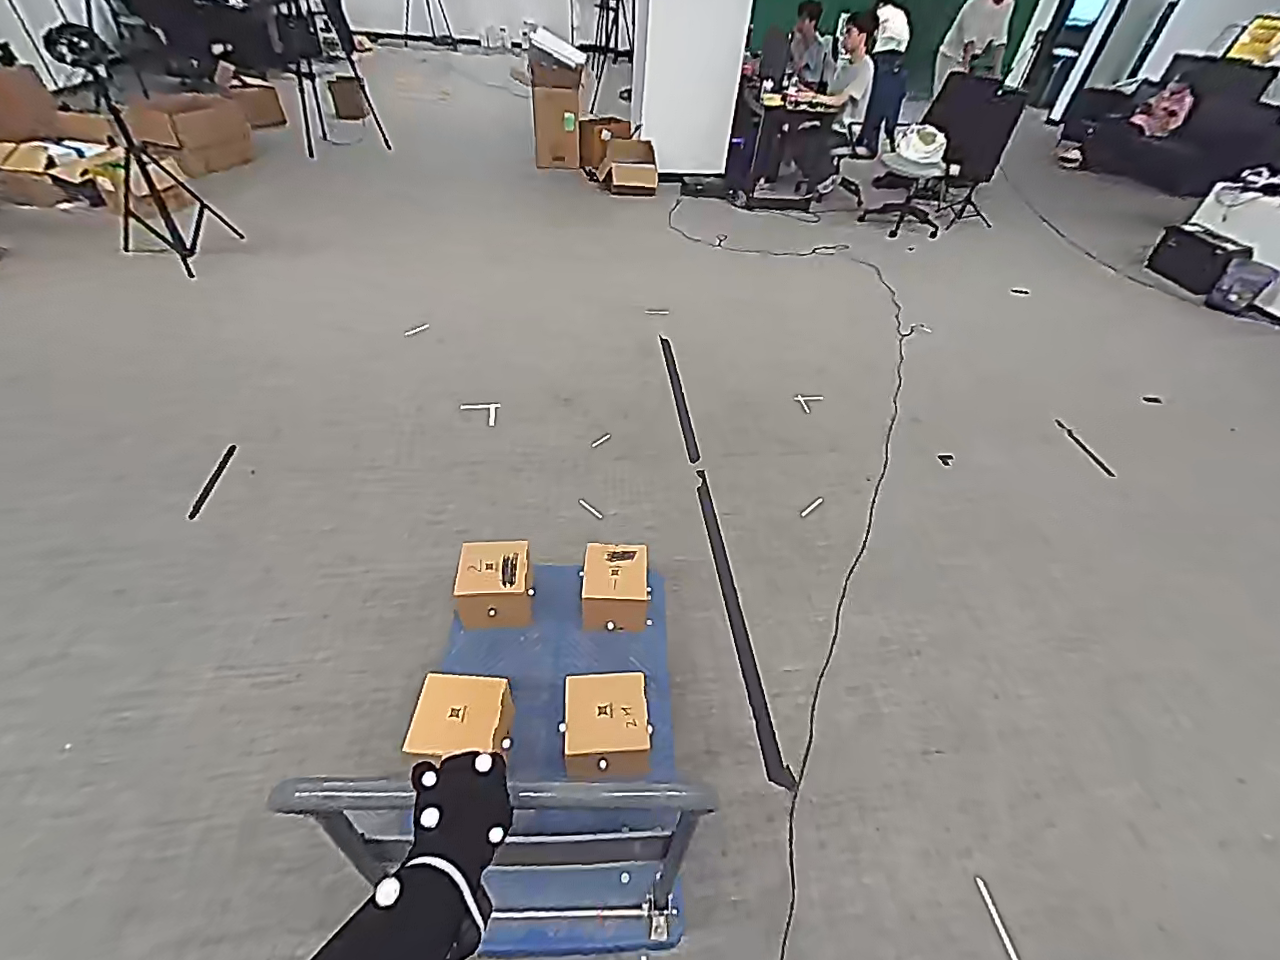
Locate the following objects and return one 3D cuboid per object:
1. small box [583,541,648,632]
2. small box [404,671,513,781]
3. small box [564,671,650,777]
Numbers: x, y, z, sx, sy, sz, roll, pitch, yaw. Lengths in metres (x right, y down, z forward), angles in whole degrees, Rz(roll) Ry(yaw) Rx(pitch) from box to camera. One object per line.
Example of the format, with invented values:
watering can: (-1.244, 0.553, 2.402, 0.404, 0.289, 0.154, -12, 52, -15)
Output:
small box: (-0.066, 0.289, 1.464, 0.168, 0.176, 0.179, 3, 45, -2)
small box: (-0.384, 0.538, 1.179, 0.179, 0.176, 0.168, 5, 43, -2)
small box: (-0.075, 0.544, 1.202, 0.179, 0.176, 0.168, 0, 45, -6)
